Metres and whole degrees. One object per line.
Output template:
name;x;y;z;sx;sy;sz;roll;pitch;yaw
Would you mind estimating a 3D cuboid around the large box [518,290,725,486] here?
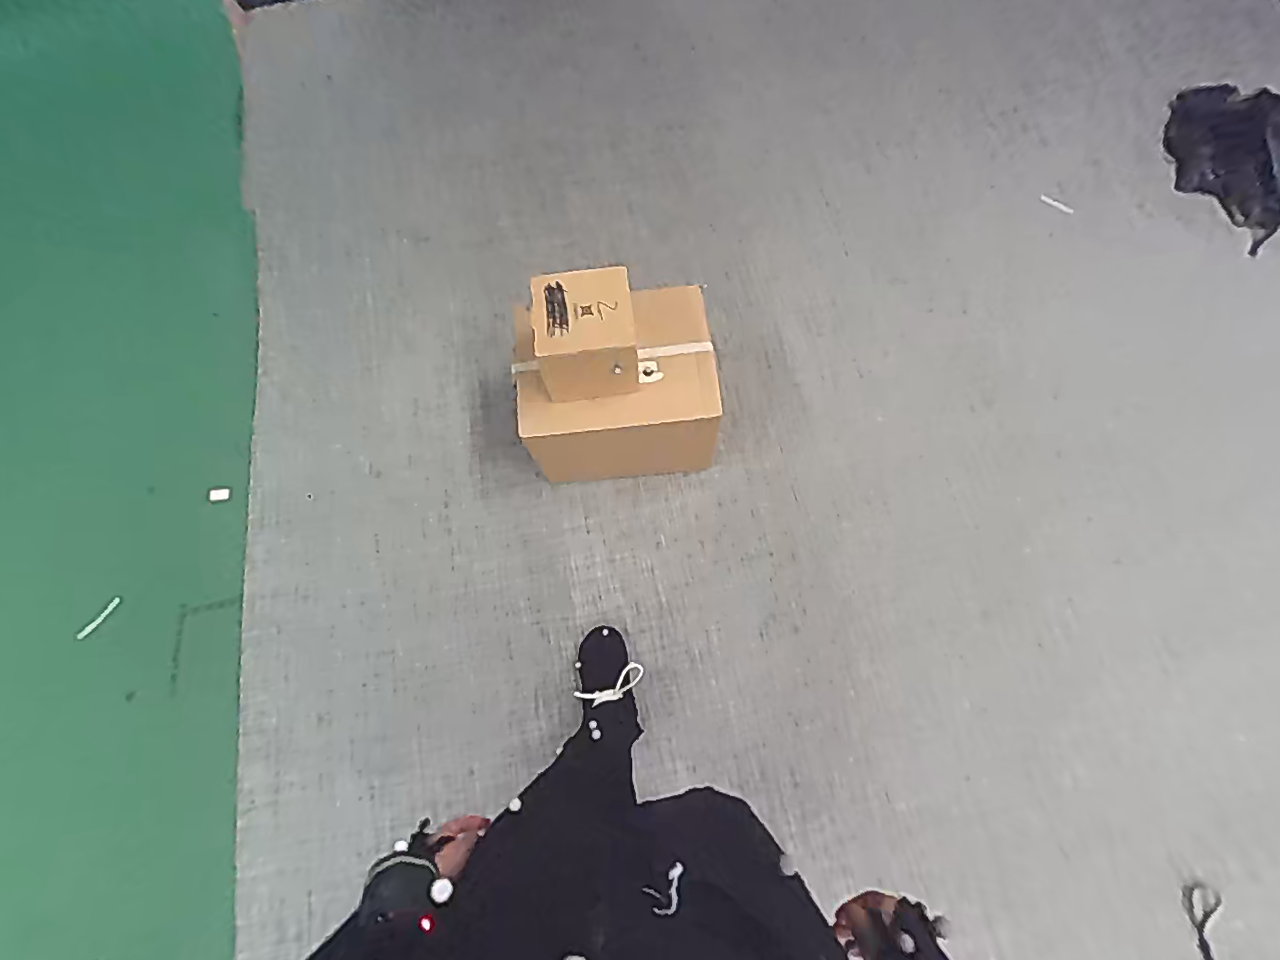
large box;-0.044;-0.195;1.242;0.408;0.320;0.320;-6;72;-1
